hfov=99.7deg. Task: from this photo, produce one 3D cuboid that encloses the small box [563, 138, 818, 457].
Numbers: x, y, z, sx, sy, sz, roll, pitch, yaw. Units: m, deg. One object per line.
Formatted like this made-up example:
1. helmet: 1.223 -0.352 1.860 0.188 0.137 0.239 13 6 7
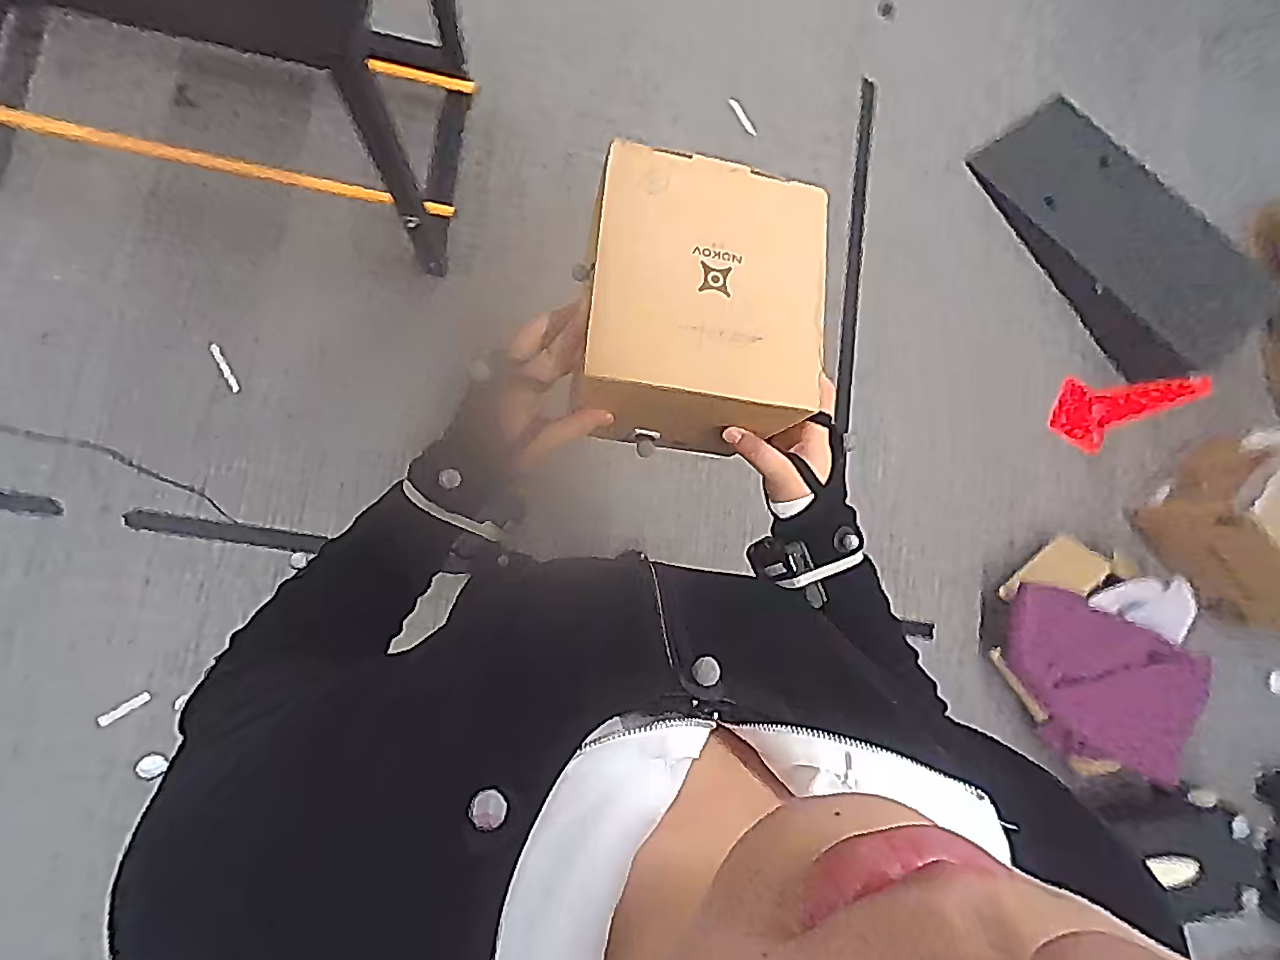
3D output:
1. small box: 0.029 -0.128 0.446 0.168 0.176 0.179 6 80 -11
